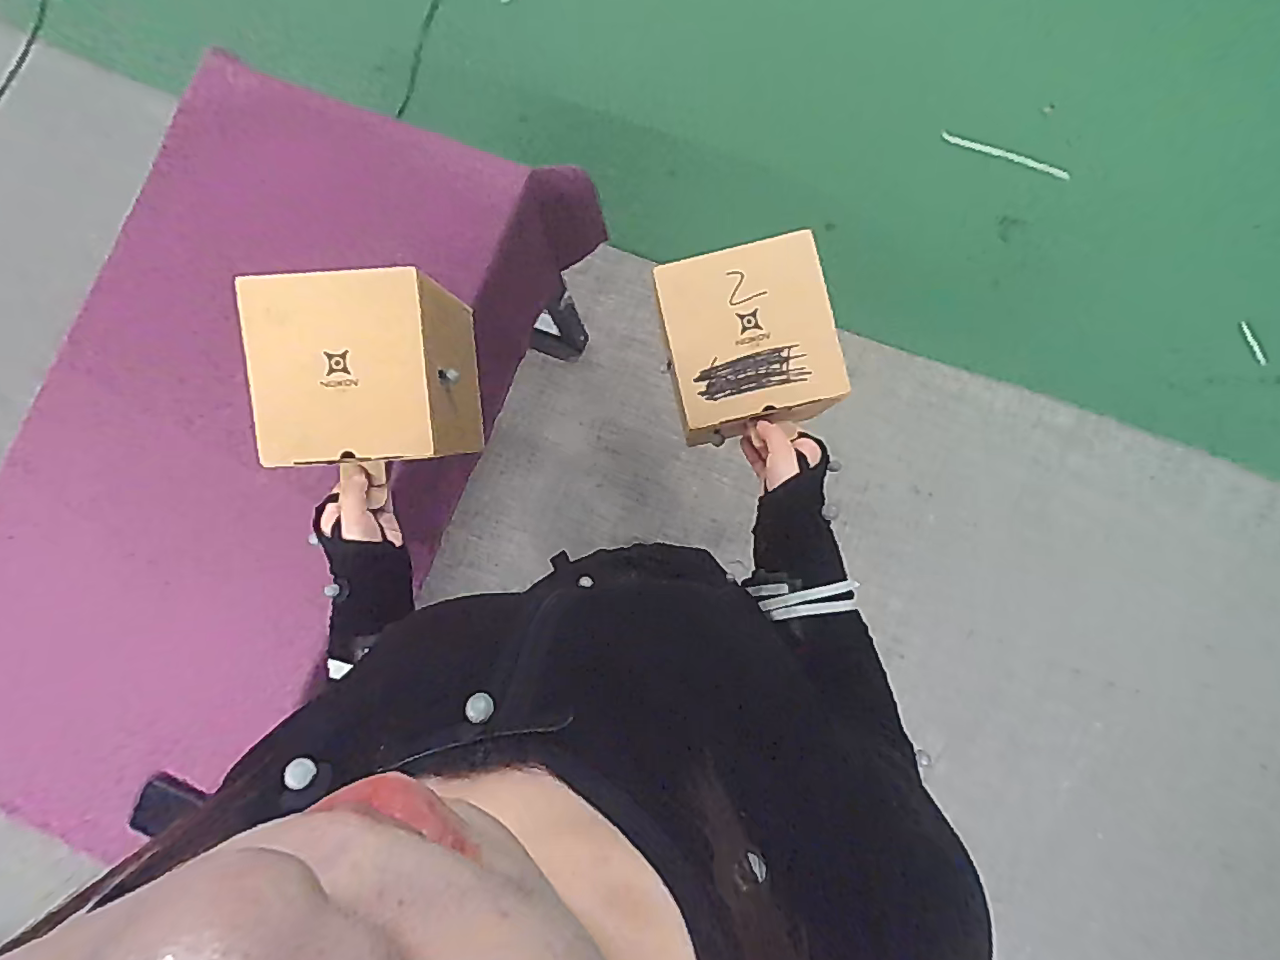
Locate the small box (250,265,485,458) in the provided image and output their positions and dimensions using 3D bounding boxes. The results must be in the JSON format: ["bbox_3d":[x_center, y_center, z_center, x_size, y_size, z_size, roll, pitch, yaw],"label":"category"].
[{"bbox_3d":[-0.271,-0.116,0.577,0.168,0.176,0.179,-2,97,-1],"label":"small box"}]
